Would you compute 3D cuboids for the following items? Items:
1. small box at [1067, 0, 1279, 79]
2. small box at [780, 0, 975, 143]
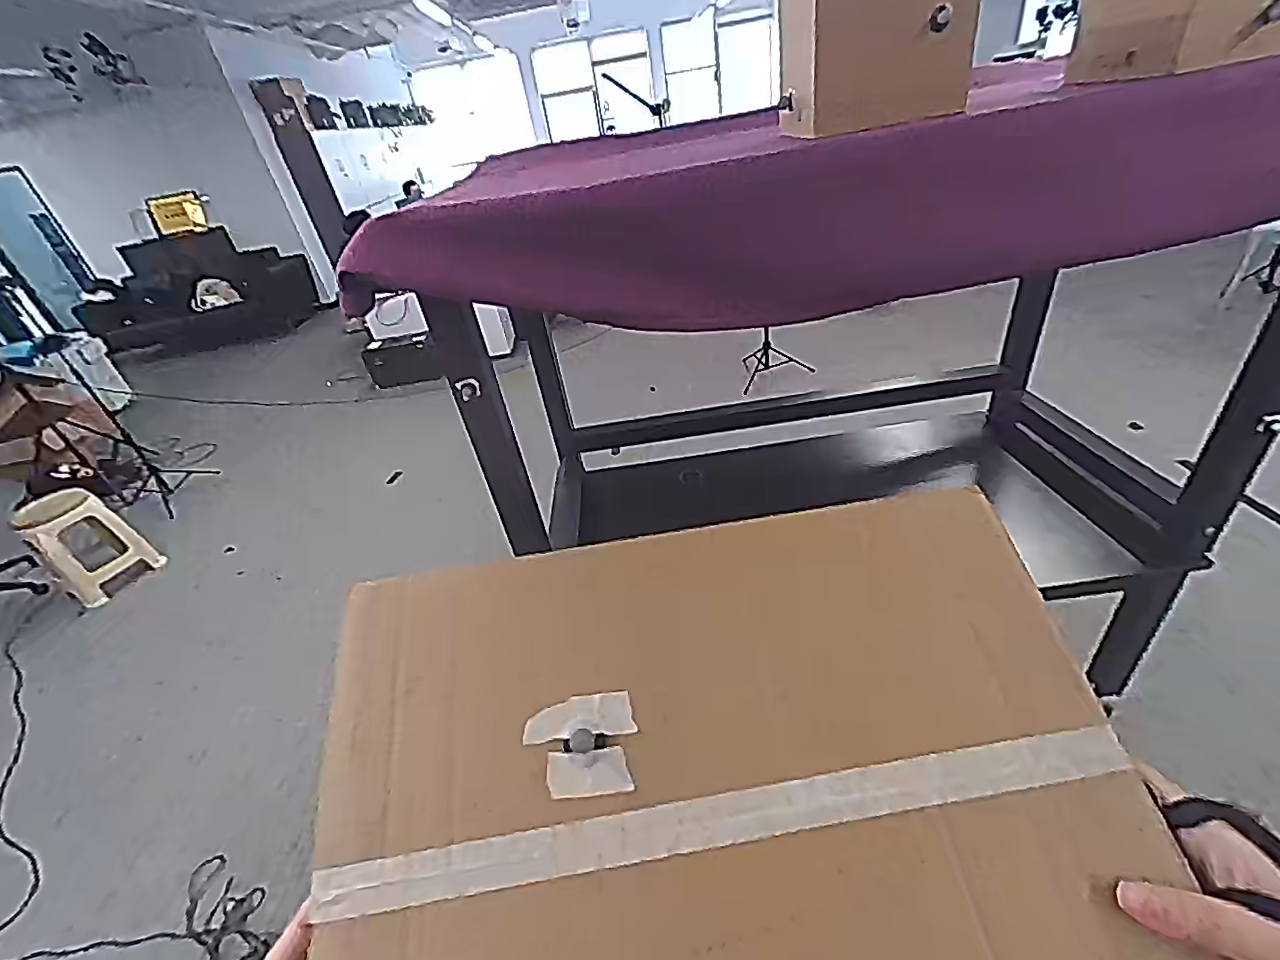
[{"bbox_3d":[0.629,-0.559,0.596,0.179,0.176,0.168,-10,33,1],"label":"small box"},{"bbox_3d":[0.268,-0.516,0.641,0.179,0.176,0.168,-9,33,4],"label":"small box"}]
